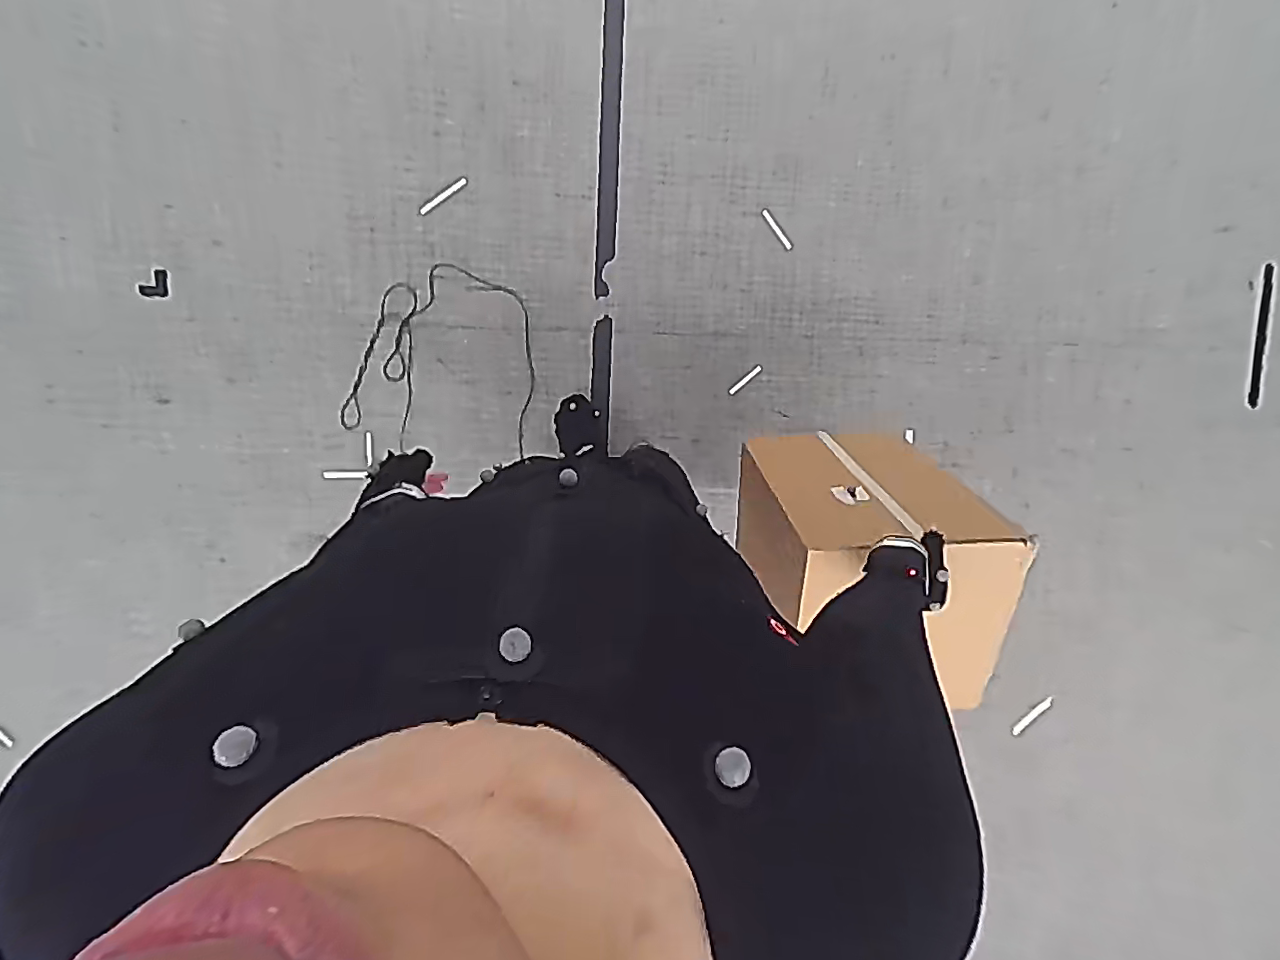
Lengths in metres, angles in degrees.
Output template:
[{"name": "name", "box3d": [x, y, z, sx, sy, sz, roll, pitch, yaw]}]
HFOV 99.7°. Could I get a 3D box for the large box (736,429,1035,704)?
[{"name": "large box", "box3d": [0.374, 0.127, 0.968, 0.320, 0.408, 0.320, -3, 118, -2]}]
